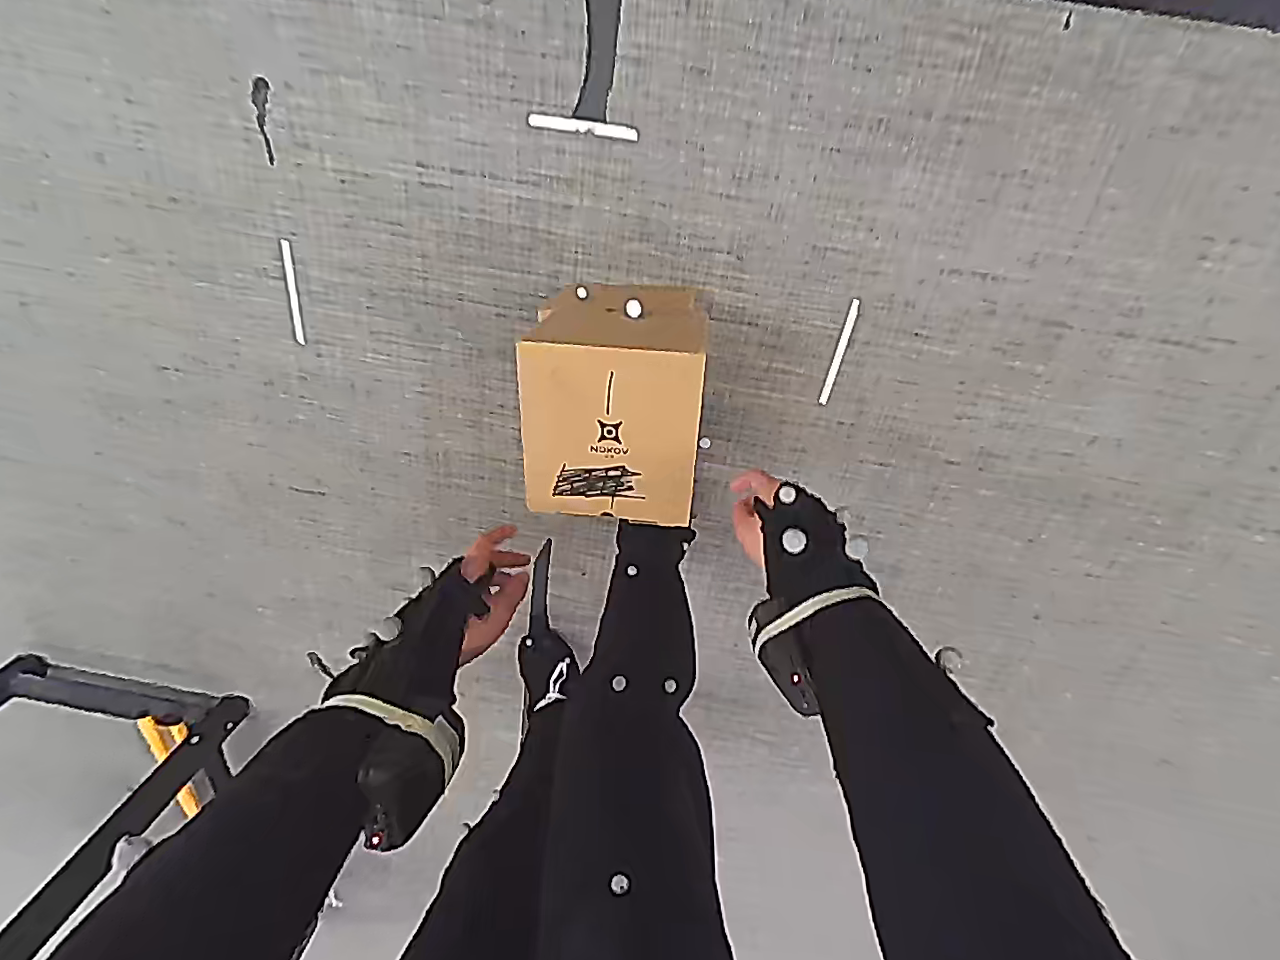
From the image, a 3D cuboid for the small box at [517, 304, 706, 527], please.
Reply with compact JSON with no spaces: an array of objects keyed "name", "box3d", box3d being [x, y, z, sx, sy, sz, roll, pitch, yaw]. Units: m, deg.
[{"name":"small box","box3d":[-0.020,-0.074,0.569,0.168,0.176,0.179,5,119,4]}]
